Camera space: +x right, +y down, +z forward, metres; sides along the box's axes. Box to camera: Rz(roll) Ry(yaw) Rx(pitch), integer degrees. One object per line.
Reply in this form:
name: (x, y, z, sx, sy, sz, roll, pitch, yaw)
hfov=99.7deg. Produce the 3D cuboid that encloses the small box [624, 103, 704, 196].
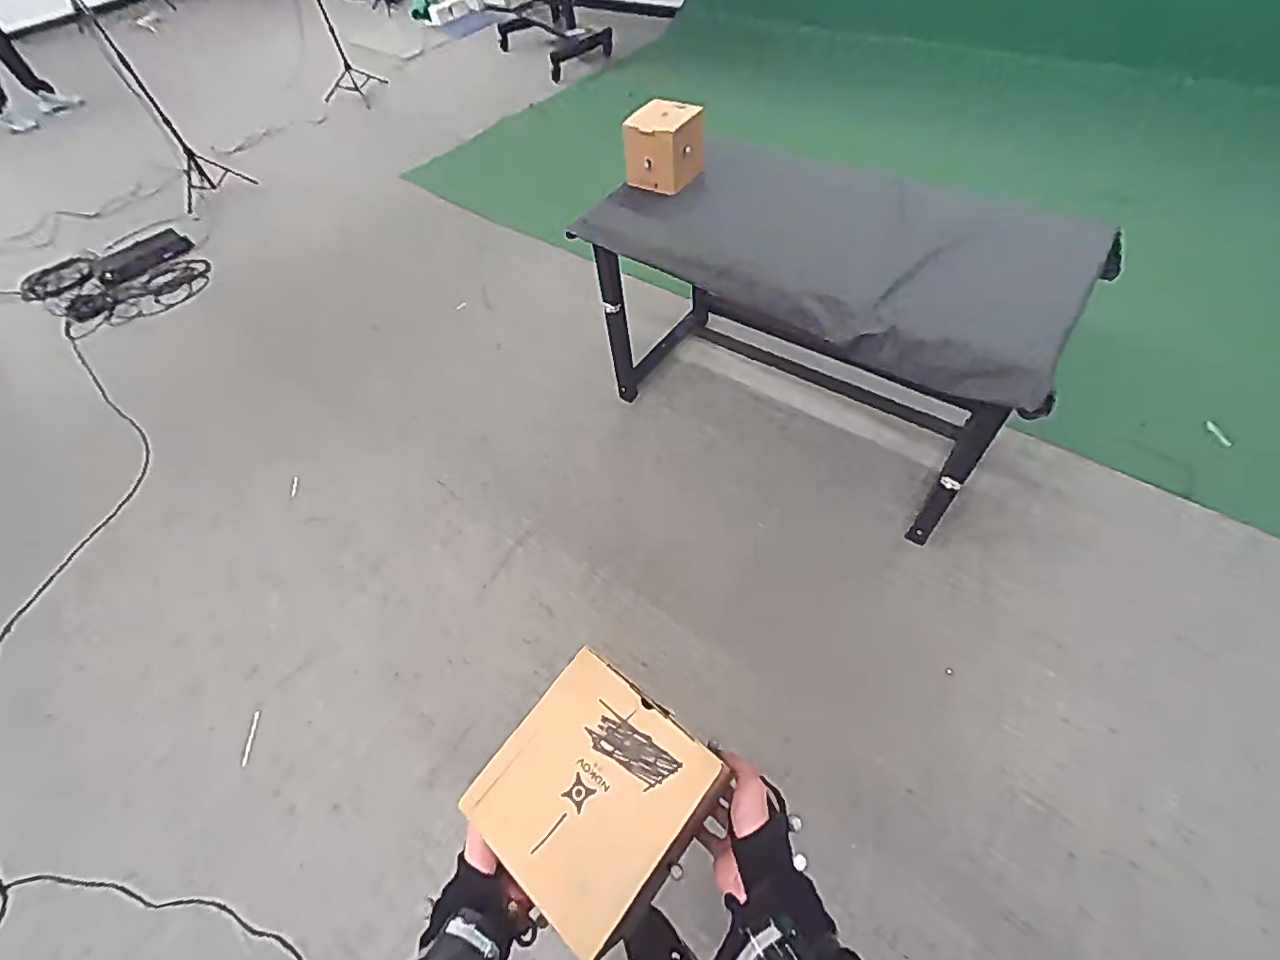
small box: (0.076, -0.950, 1.559, 0.168, 0.176, 0.179, 26, 62, 22)
